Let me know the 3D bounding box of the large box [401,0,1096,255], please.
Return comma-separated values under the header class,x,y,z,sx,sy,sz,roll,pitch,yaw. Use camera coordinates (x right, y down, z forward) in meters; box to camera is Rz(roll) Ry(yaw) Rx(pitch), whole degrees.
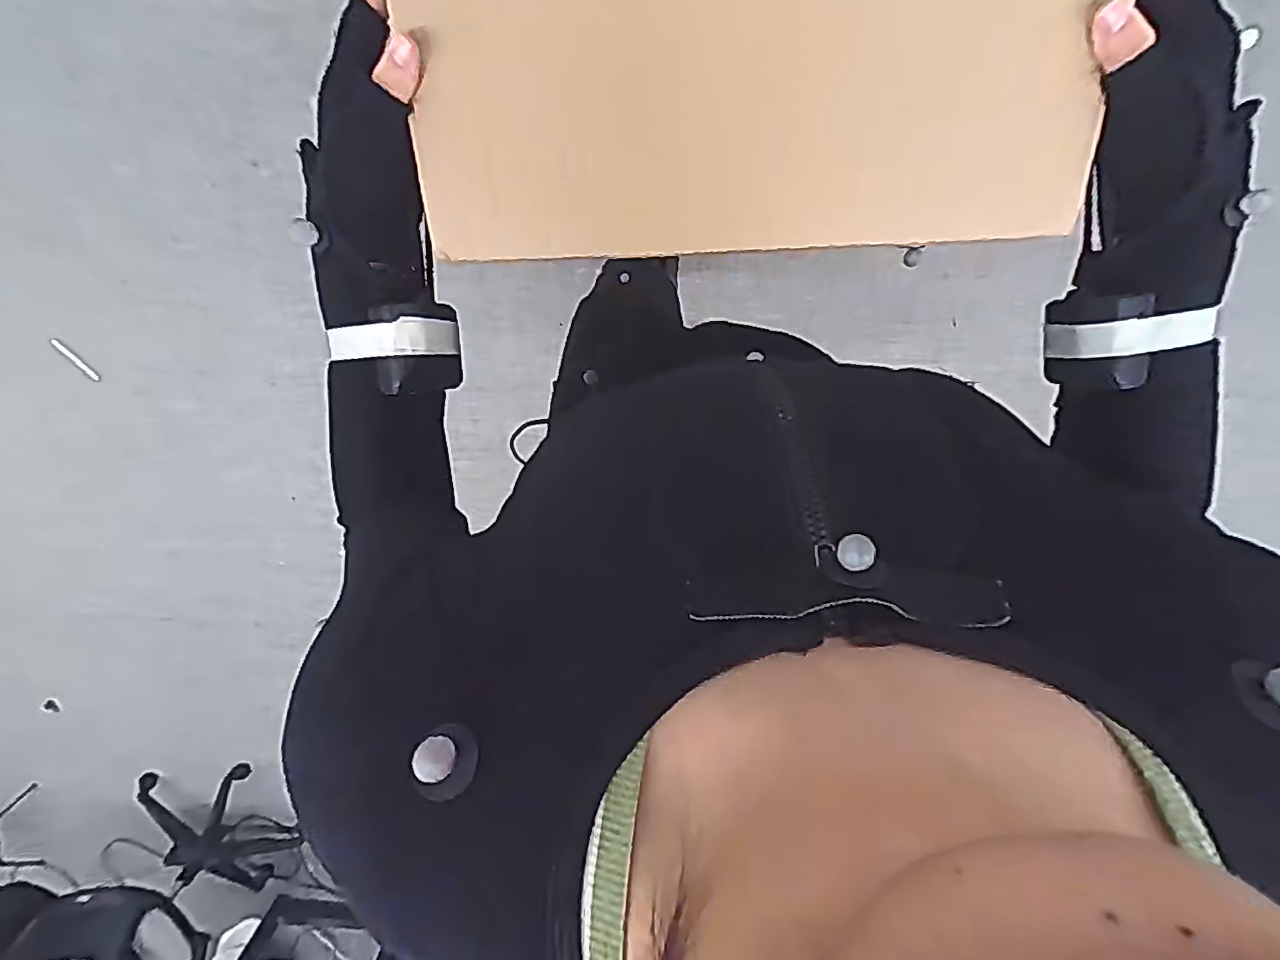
class,x,y,z,sx,sy,sz,roll,pitch,yaw
large box,0.064,-0.363,0.431,0.408,0.320,0.320,-1,114,3
